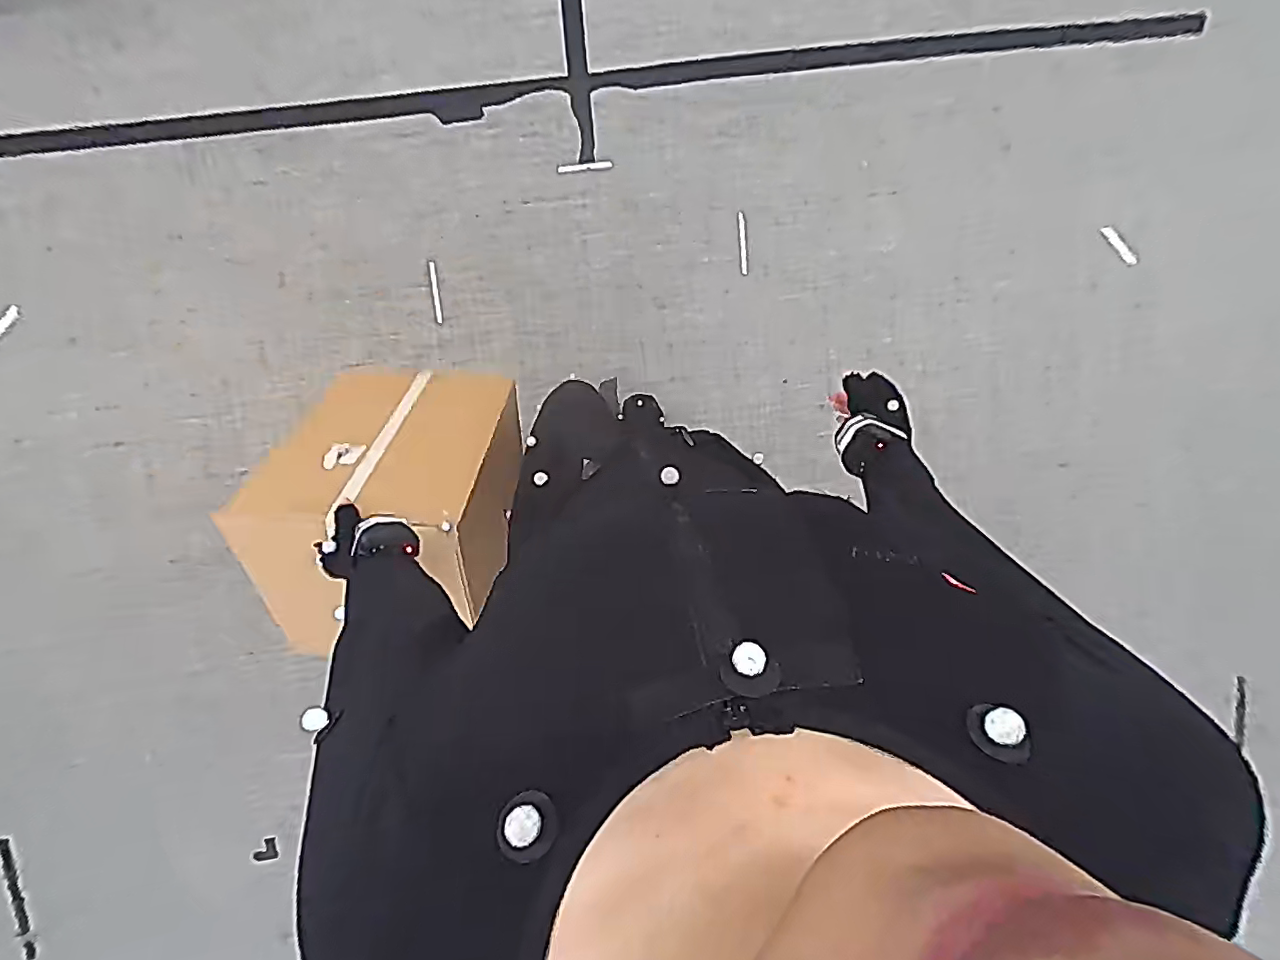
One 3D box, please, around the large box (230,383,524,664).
[{"bbox_3d":[-0.398,0.063,0.959,0.320,0.408,0.320,1,129,0],"label":"large box"}]
